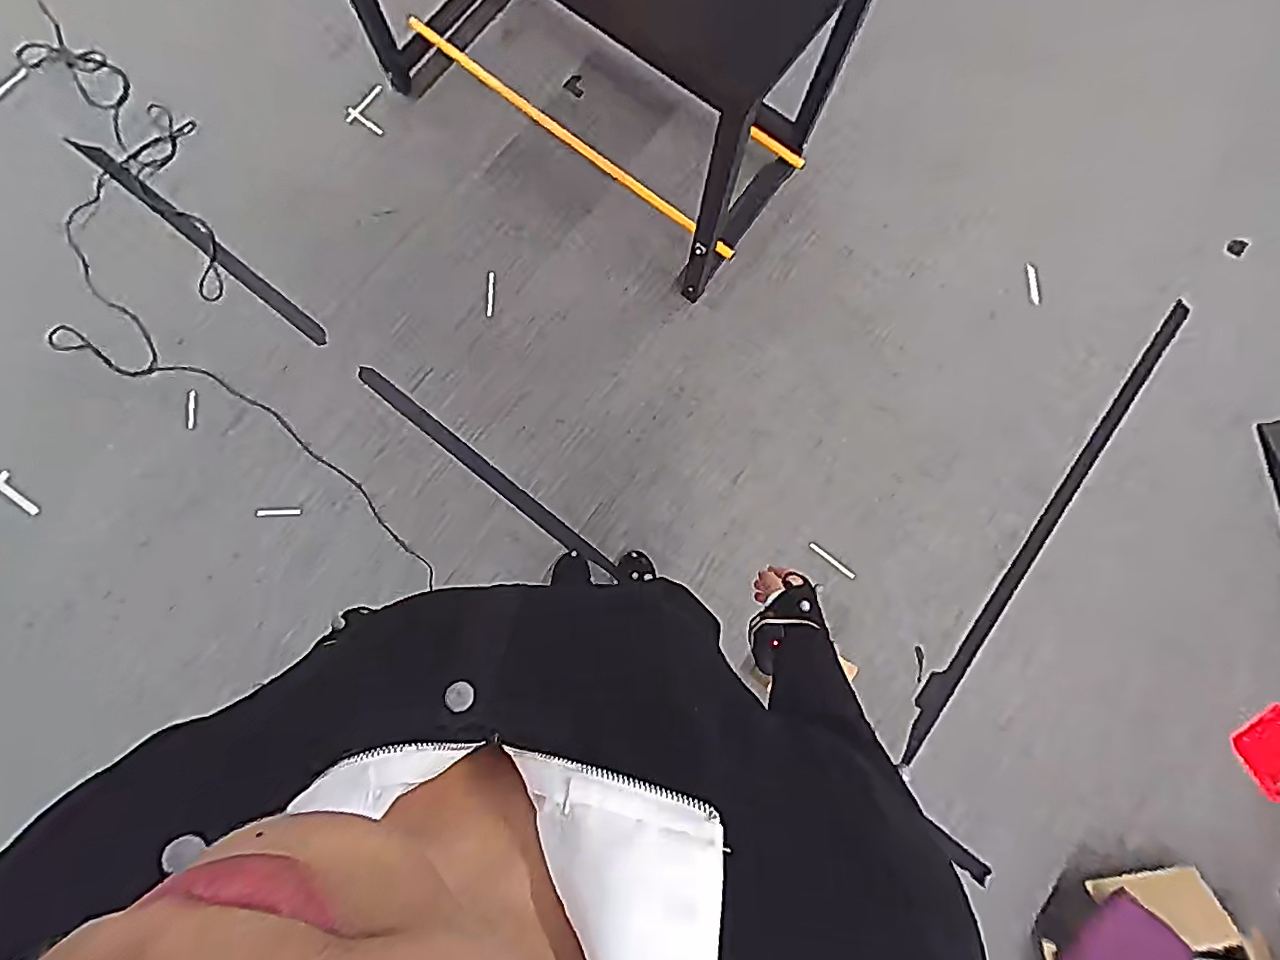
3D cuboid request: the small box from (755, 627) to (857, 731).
[{"bbox_3d":[0.418,0.502,1.398,0.168,0.176,0.179,35,82,4],"label":"small box"}]
